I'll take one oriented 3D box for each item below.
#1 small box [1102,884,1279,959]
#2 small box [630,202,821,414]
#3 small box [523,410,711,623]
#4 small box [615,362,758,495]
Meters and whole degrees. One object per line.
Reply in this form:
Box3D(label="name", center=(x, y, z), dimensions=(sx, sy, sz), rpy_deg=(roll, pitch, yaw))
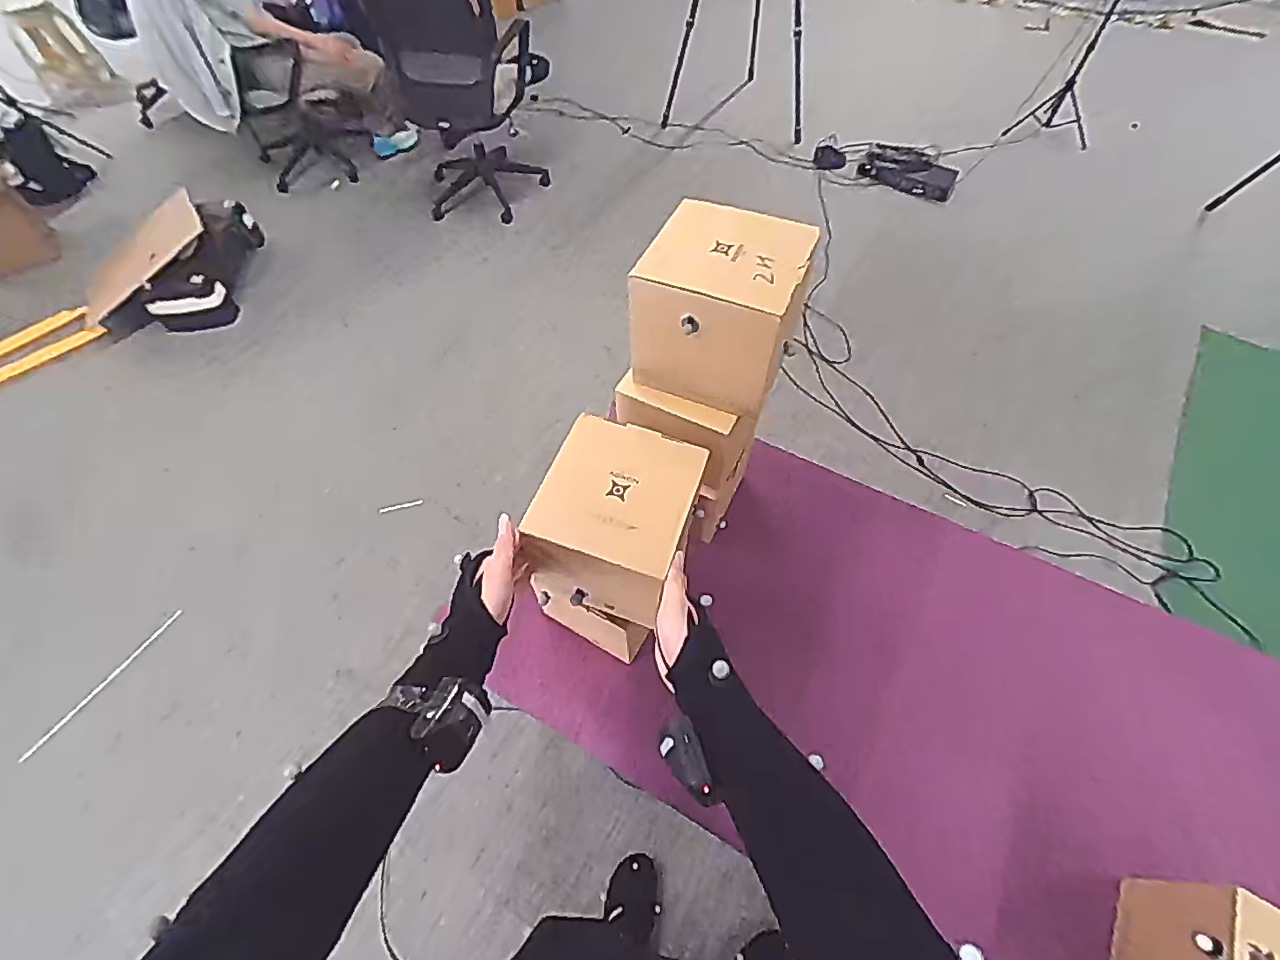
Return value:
Box3D(label="small box", center=(0.634, 0.556, 0.559), dimensions=(0.179, 0.176, 0.168), rpy_deg=(30, 61, 19))
Box3D(label="small box", center=(0.100, -0.210, 0.677), dimensions=(0.179, 0.176, 0.168), rpy_deg=(21, 60, 13))
Box3D(label="small box", center=(-0.025, 0.050, 0.667), dimensions=(0.168, 0.176, 0.179), rpy_deg=(18, 59, 9))
Box3D(label="small box", center=(0.080, -0.106, 0.805), dimensions=(0.168, 0.176, 0.179), rpy_deg=(24, 60, 15))
